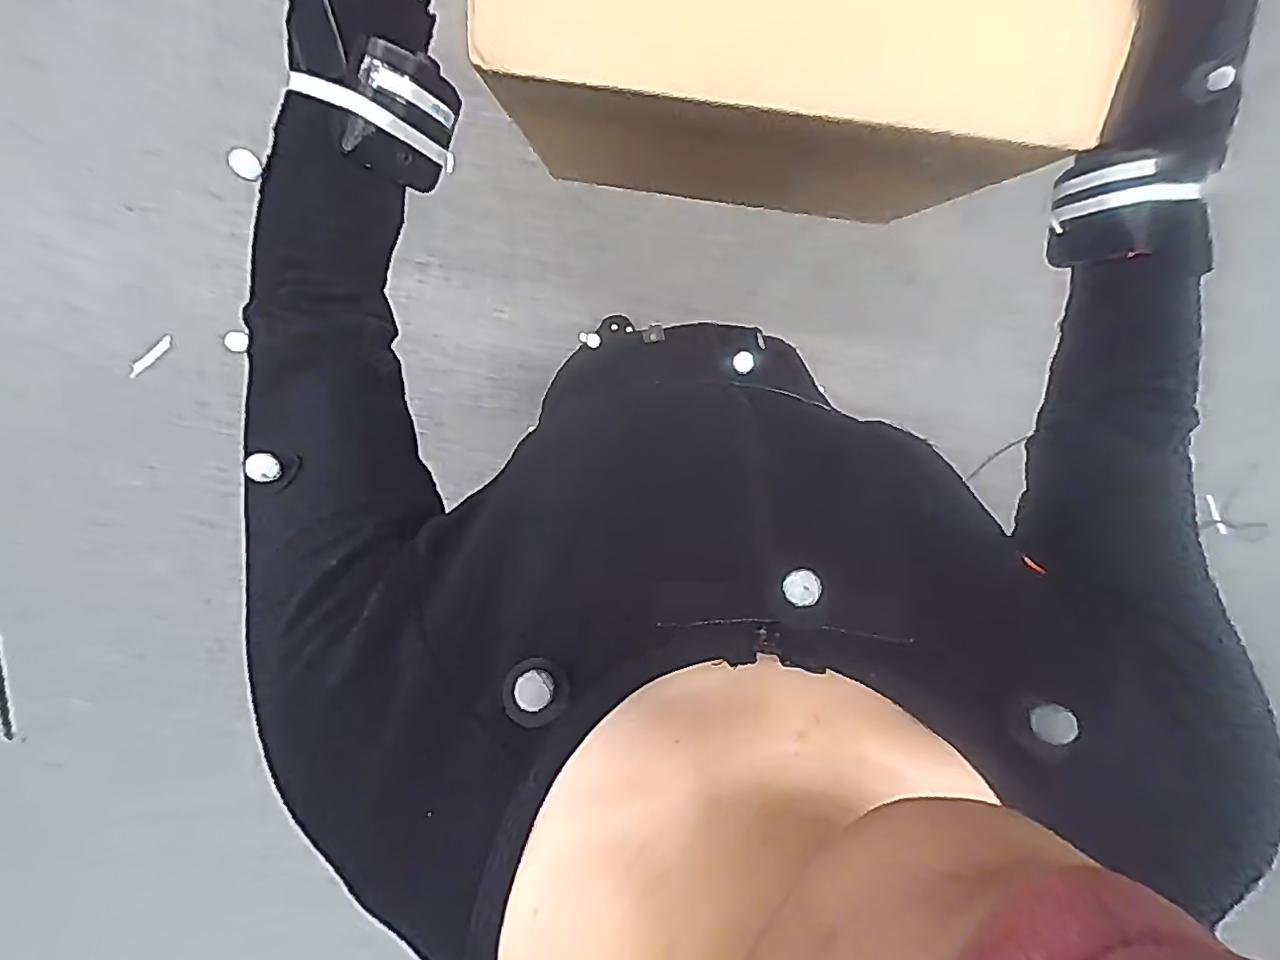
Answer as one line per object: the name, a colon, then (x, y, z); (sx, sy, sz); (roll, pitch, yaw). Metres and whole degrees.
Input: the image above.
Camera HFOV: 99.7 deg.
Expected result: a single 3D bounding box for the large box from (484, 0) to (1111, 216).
large box: (0.107, -0.436, 0.457); (0.408, 0.320, 0.320); (6, 107, -2)
